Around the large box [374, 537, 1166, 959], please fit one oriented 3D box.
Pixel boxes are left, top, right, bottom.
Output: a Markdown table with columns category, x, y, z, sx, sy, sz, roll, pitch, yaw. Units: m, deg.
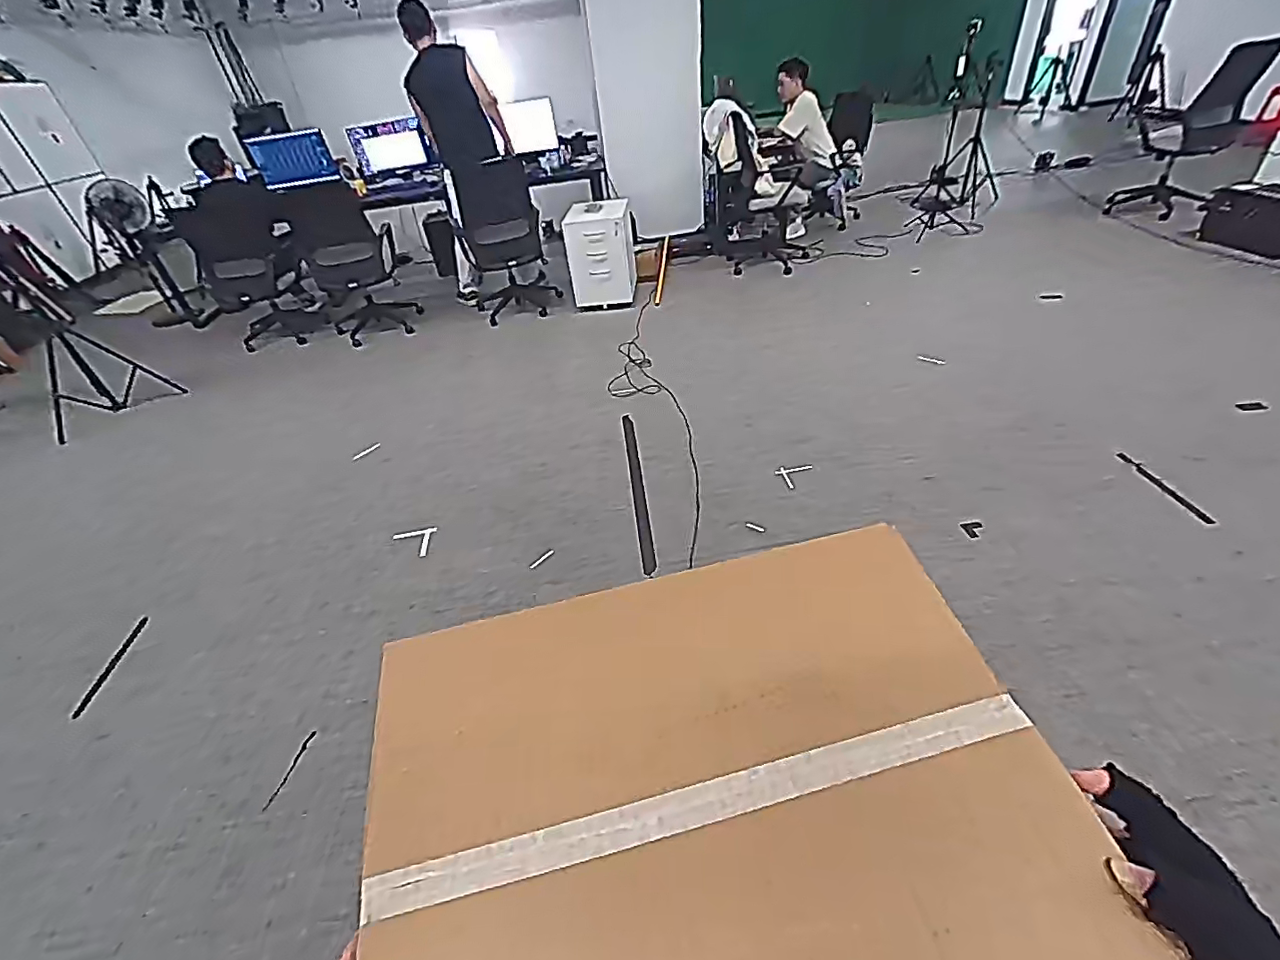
| category | x | y | z | sx | sy | sz | roll | pitch | yaw |
| --- | --- | --- | --- | --- | --- | --- | --- | --- | --- |
| large box | 0.056 | 0.298 | 0.438 | 0.408 | 0.320 | 0.320 | -14 | 48 | -5 |
